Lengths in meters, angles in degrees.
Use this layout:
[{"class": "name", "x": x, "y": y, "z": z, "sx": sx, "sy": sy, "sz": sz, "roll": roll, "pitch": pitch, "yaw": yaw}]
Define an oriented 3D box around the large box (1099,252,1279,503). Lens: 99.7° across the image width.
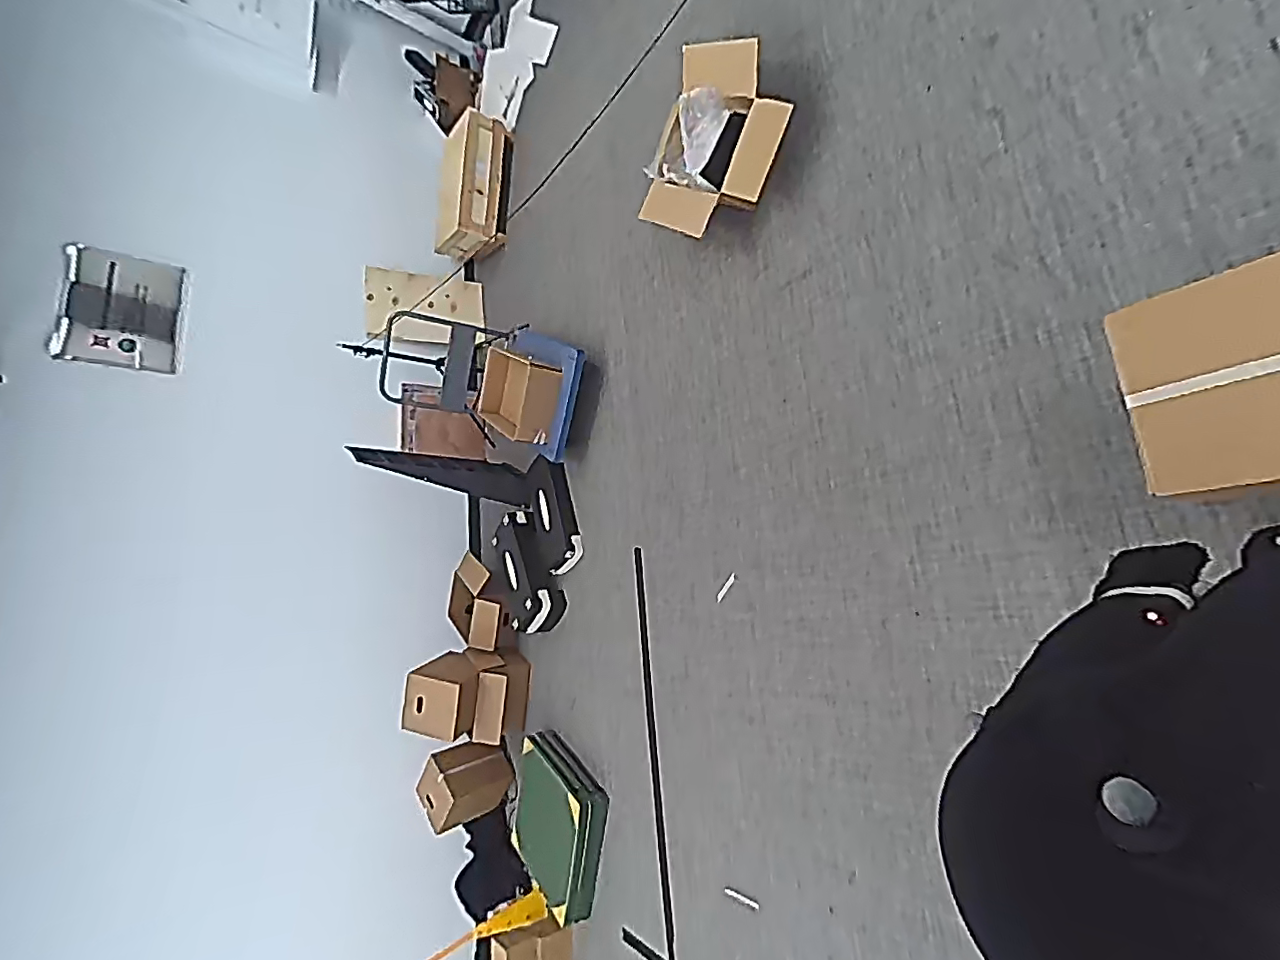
[{"class": "large box", "x": 1.020, "y": -0.159, "z": 0.814, "sx": 0.408, "sy": 0.320, "sz": 0.320, "roll": -21, "pitch": 71, "yaw": 51}]
